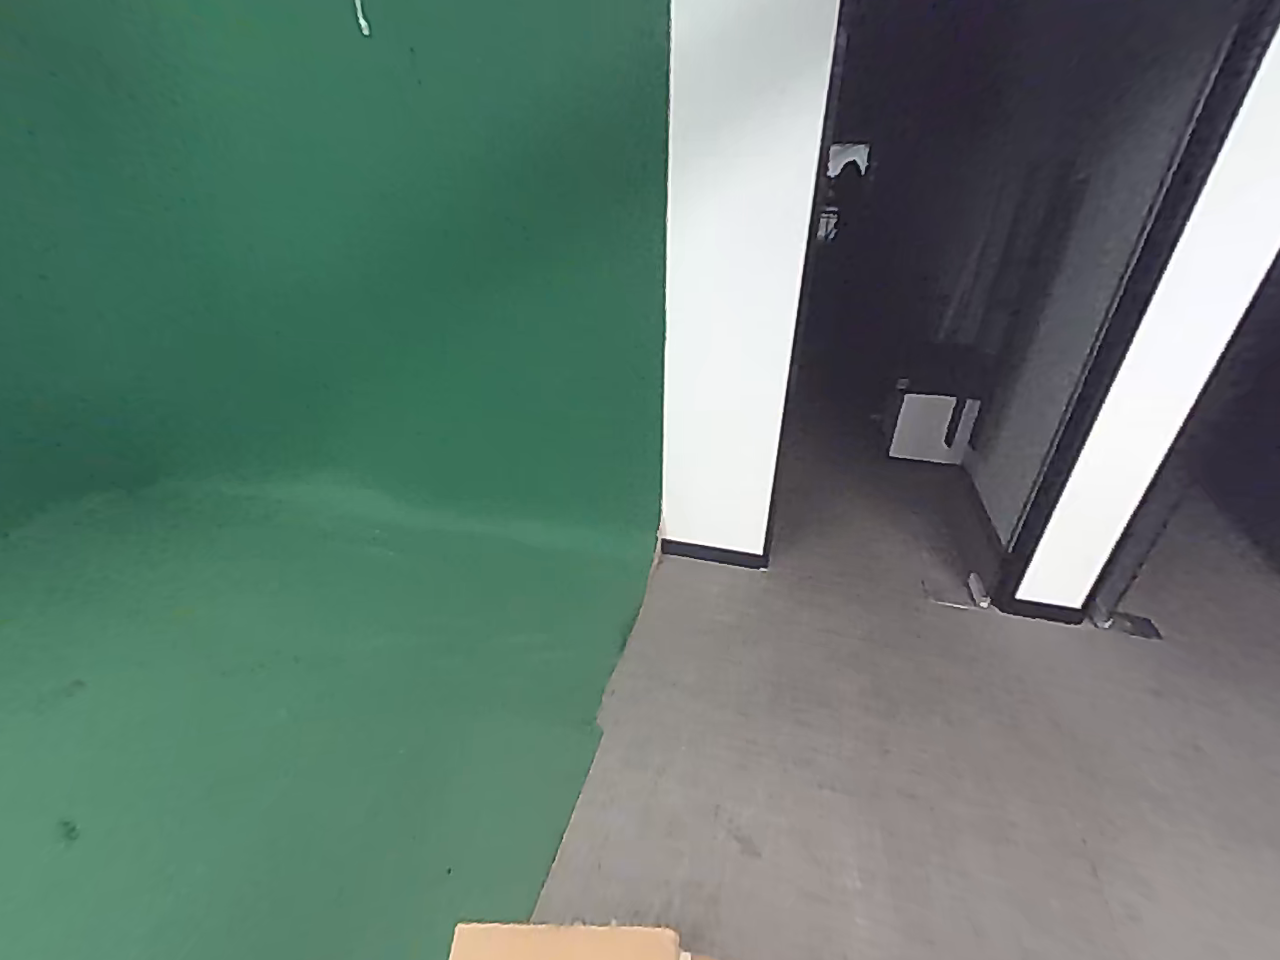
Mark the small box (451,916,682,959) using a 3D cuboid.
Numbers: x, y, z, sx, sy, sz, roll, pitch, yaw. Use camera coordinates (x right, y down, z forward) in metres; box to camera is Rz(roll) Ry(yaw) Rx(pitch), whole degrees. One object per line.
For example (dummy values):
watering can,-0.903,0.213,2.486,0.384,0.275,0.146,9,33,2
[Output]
small box,-0.058,0.460,0.410,0.179,0.176,0.168,1,38,2
